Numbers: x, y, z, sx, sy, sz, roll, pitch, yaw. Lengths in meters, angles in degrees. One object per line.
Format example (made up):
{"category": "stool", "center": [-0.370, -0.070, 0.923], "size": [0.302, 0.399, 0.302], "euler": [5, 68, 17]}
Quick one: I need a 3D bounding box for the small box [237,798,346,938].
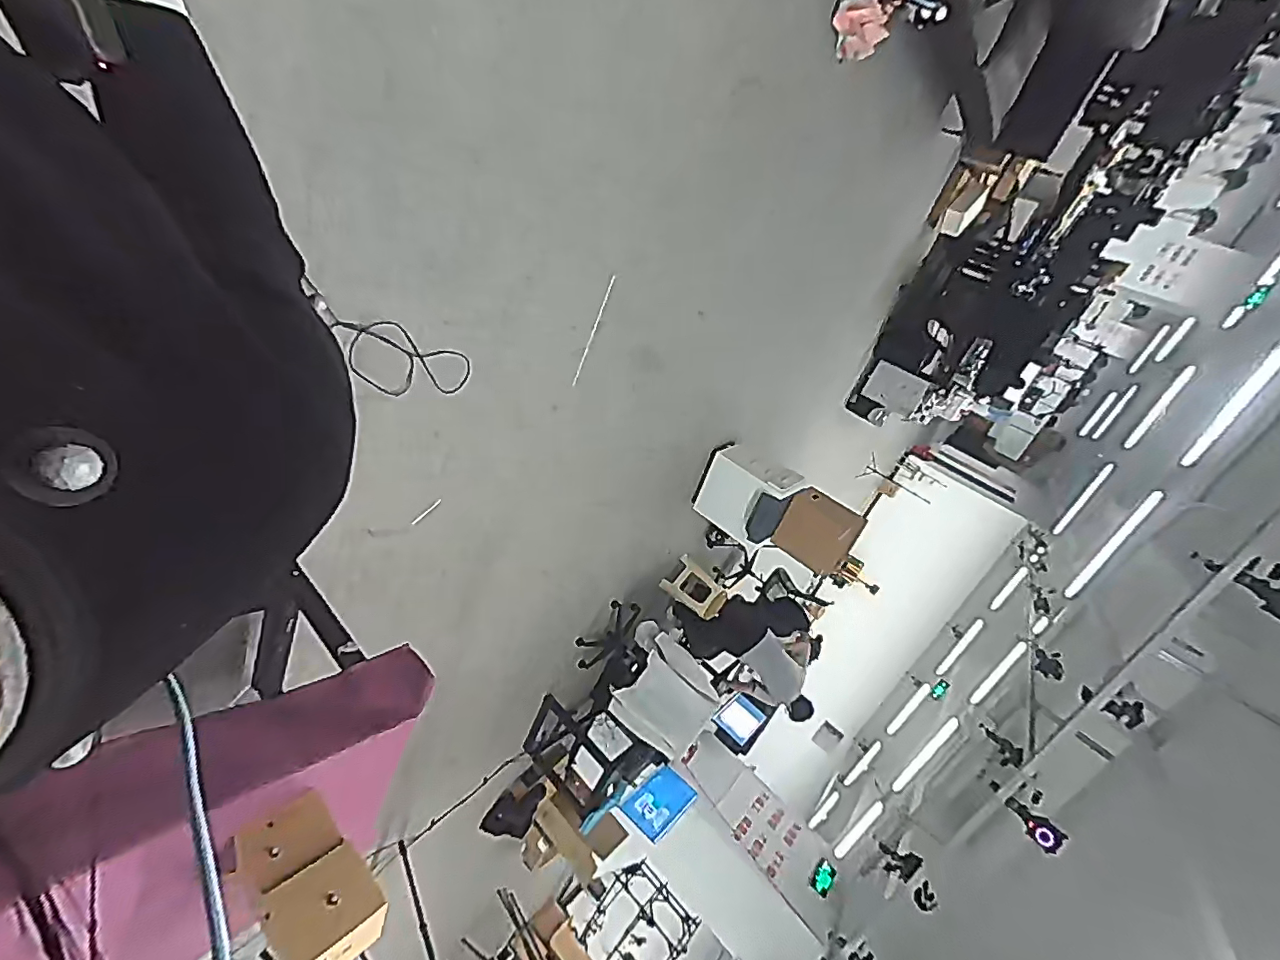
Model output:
{"category": "small box", "center": [-0.795, 0.869, 1.232], "size": [0.168, 0.176, 0.179], "euler": [-15, 135, -49]}

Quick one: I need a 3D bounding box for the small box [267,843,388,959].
{"category": "small box", "center": [-0.668, 0.934, 1.148], "size": [0.179, 0.176, 0.168], "euler": [-16, 135, -49]}
